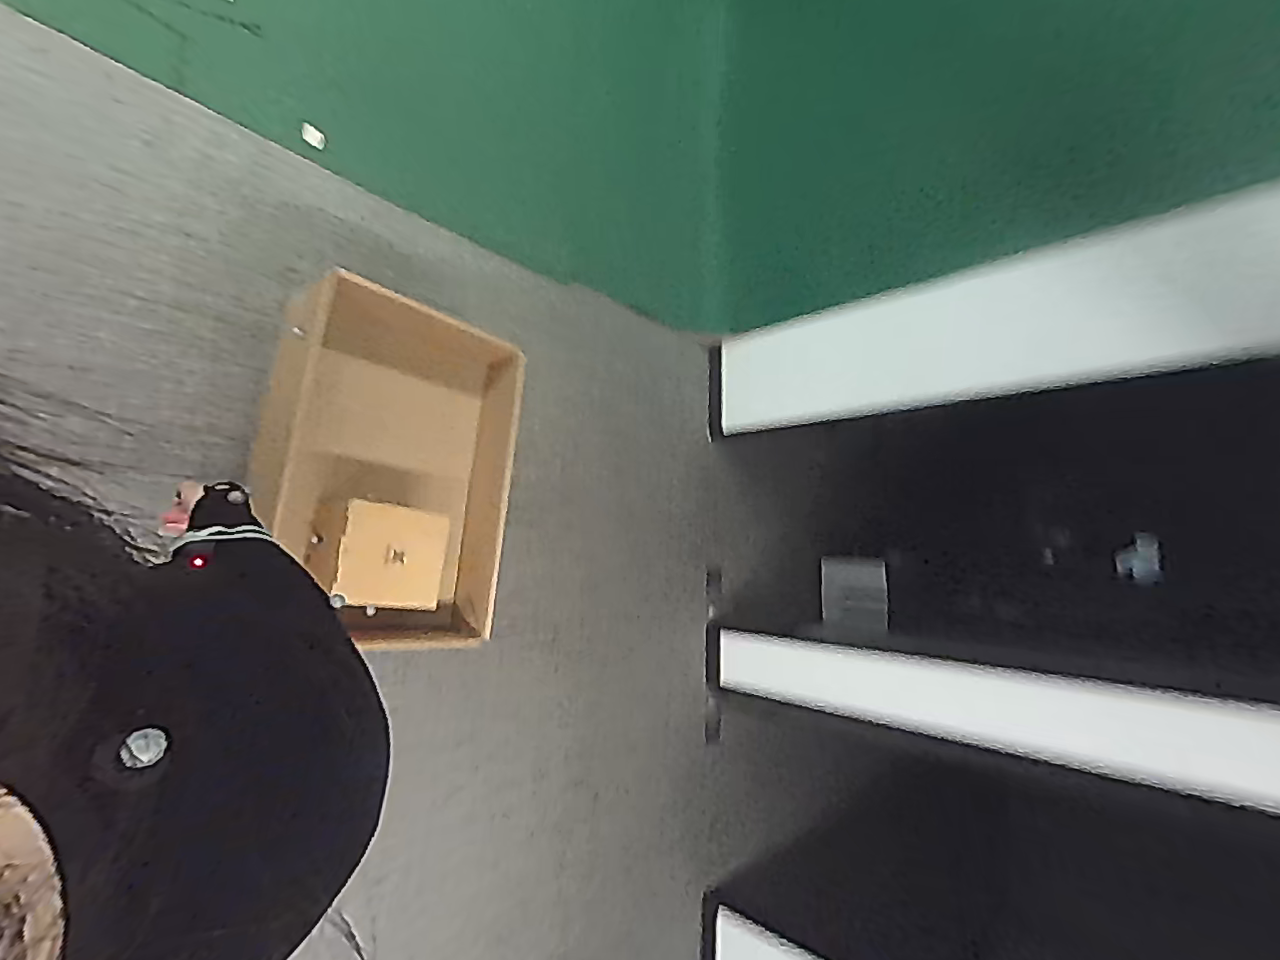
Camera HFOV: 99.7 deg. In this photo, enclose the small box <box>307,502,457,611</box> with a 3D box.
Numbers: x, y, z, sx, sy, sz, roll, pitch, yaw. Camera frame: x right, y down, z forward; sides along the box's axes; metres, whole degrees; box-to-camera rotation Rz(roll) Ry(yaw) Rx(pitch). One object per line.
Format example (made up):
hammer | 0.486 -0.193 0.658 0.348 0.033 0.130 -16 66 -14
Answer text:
small box | -0.457 0.136 0.961 0.179 0.176 0.168 18 74 -44
